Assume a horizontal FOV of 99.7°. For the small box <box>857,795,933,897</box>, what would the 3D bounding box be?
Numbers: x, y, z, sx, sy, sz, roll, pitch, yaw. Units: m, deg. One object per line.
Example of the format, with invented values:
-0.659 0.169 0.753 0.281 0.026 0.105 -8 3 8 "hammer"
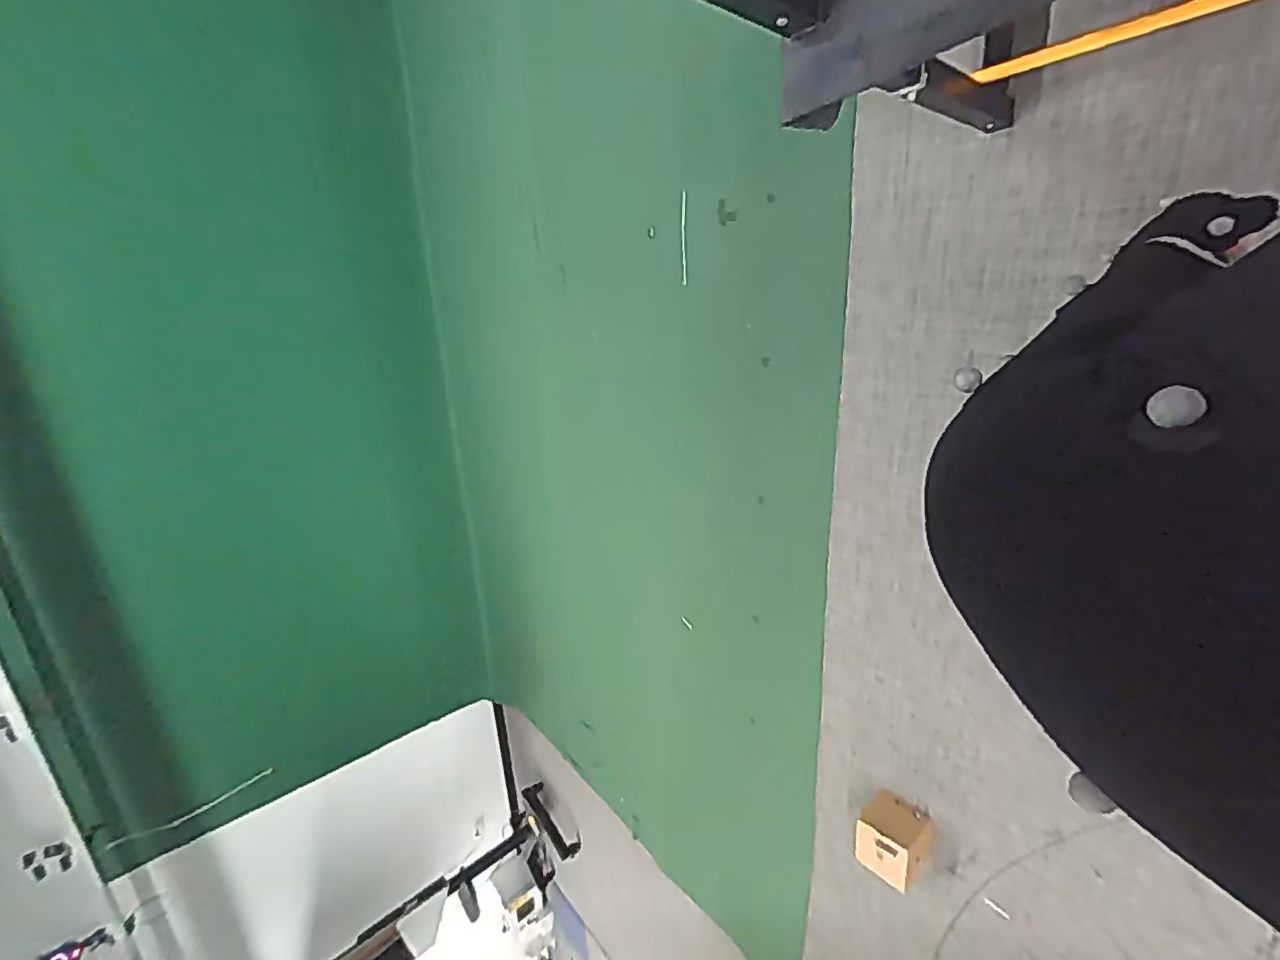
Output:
0.825 1.169 1.746 0.168 0.176 0.179 15 114 49 "small box"
